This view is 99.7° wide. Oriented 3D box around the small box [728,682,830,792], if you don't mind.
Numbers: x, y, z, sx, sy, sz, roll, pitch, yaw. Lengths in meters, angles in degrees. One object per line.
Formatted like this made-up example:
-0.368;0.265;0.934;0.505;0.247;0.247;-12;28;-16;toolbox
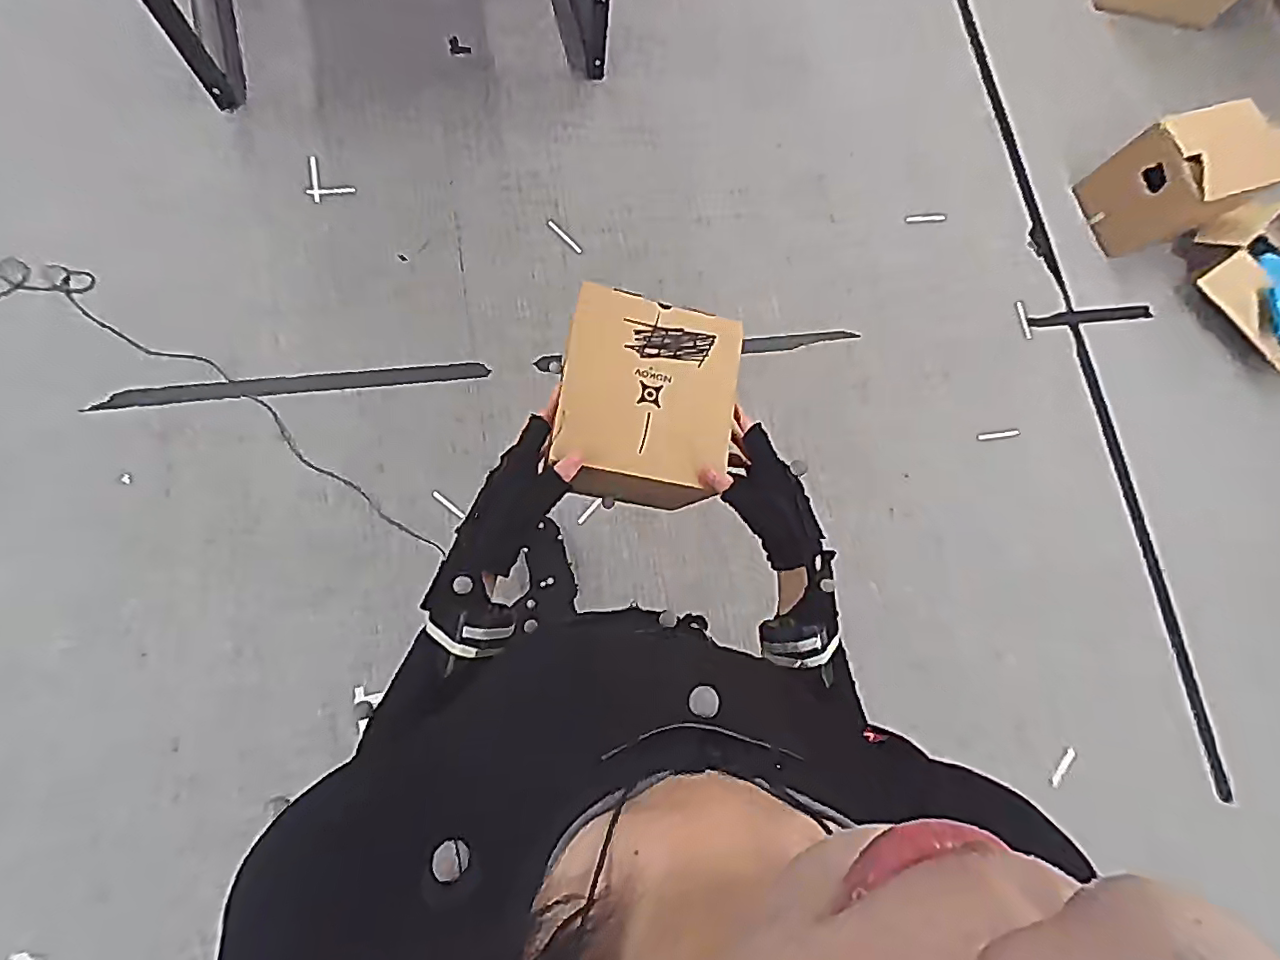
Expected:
0.351;0.661;1.414;0.168;0.176;0.179;45;75;1;small box

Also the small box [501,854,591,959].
-0.218;1.011;1.259;0.168;0.176;0.179;-15;80;-10;small box
